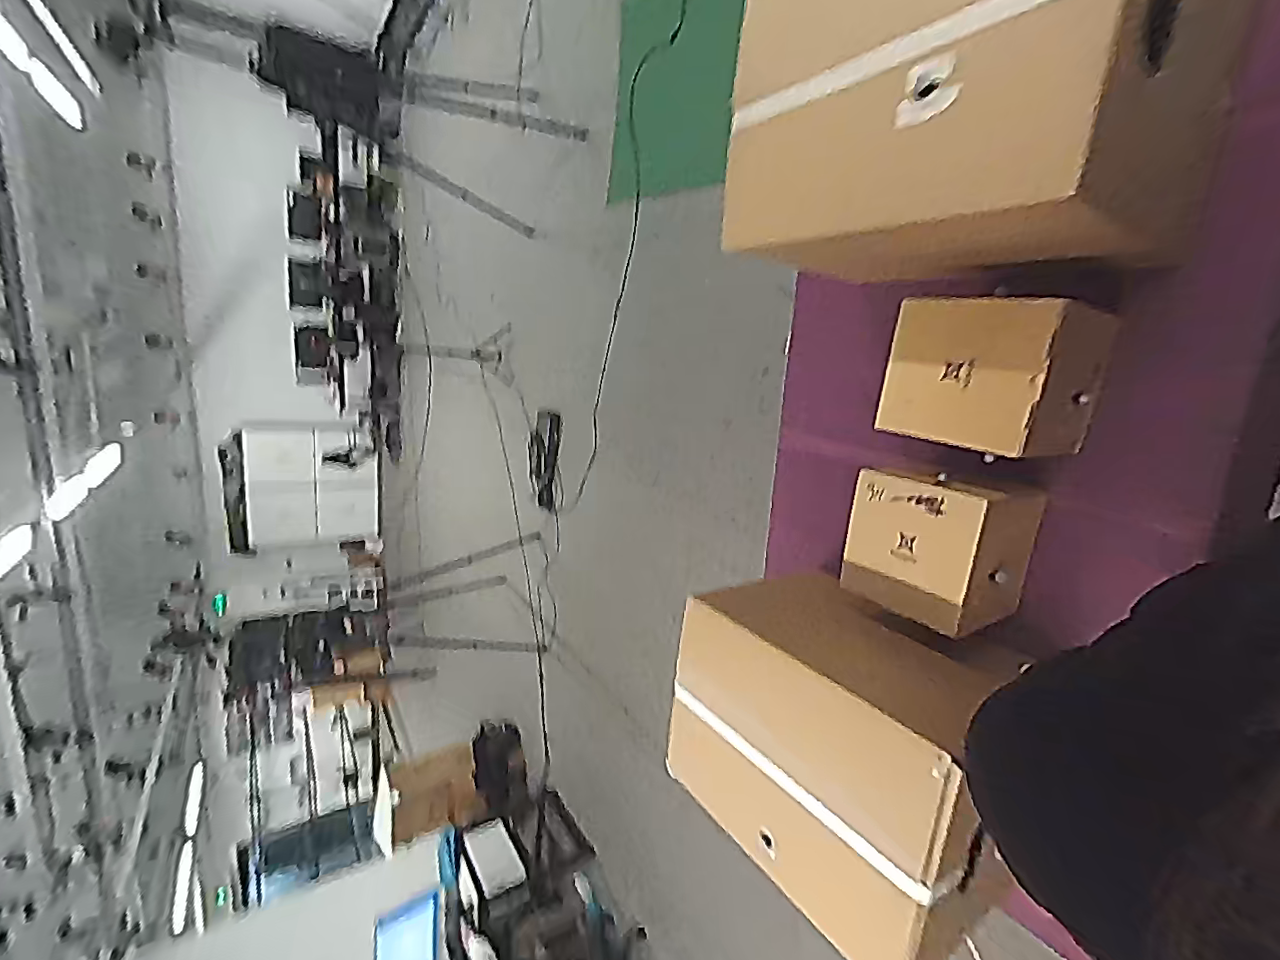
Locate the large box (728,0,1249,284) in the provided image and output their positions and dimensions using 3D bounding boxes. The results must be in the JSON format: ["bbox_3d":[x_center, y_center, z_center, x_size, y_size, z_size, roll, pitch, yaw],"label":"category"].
[{"bbox_3d":[0.367,-0.426,0.630,0.408,0.320,0.320,22,110,51],"label":"large box"}]
